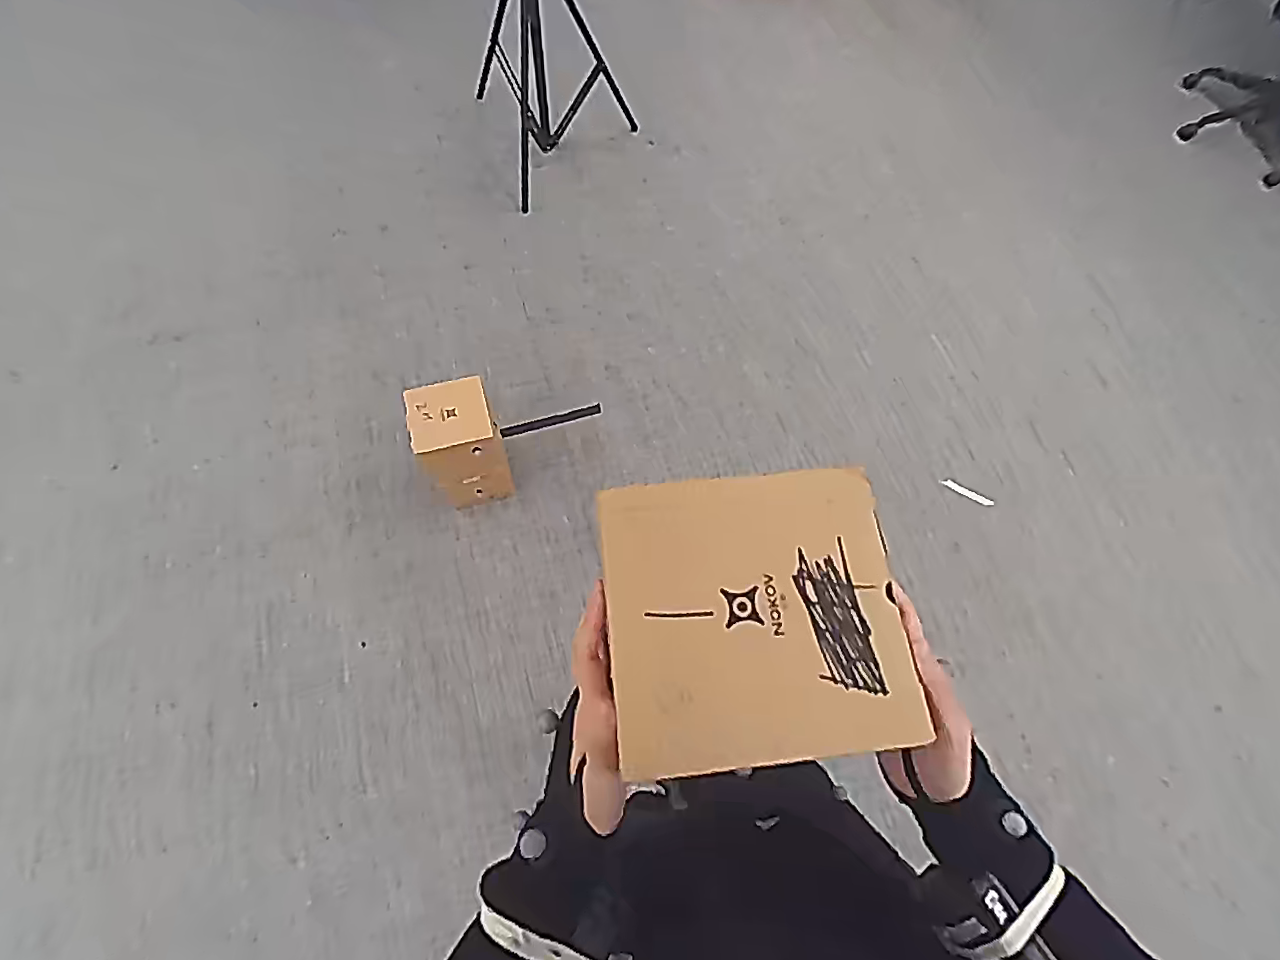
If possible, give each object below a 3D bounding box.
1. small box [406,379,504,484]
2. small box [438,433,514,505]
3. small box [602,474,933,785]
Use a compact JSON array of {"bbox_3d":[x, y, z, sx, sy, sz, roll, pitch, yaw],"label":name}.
[{"bbox_3d":[-0.425,-0.110,1.269,0.179,0.176,0.168,-15,68,-9],"label":"small box"},{"bbox_3d":[-0.437,-0.044,1.421,0.168,0.176,0.179,-14,70,-9],"label":"small box"},{"bbox_3d":[0.065,0.105,0.390,0.179,0.176,0.168,-5,70,-4],"label":"small box"}]
